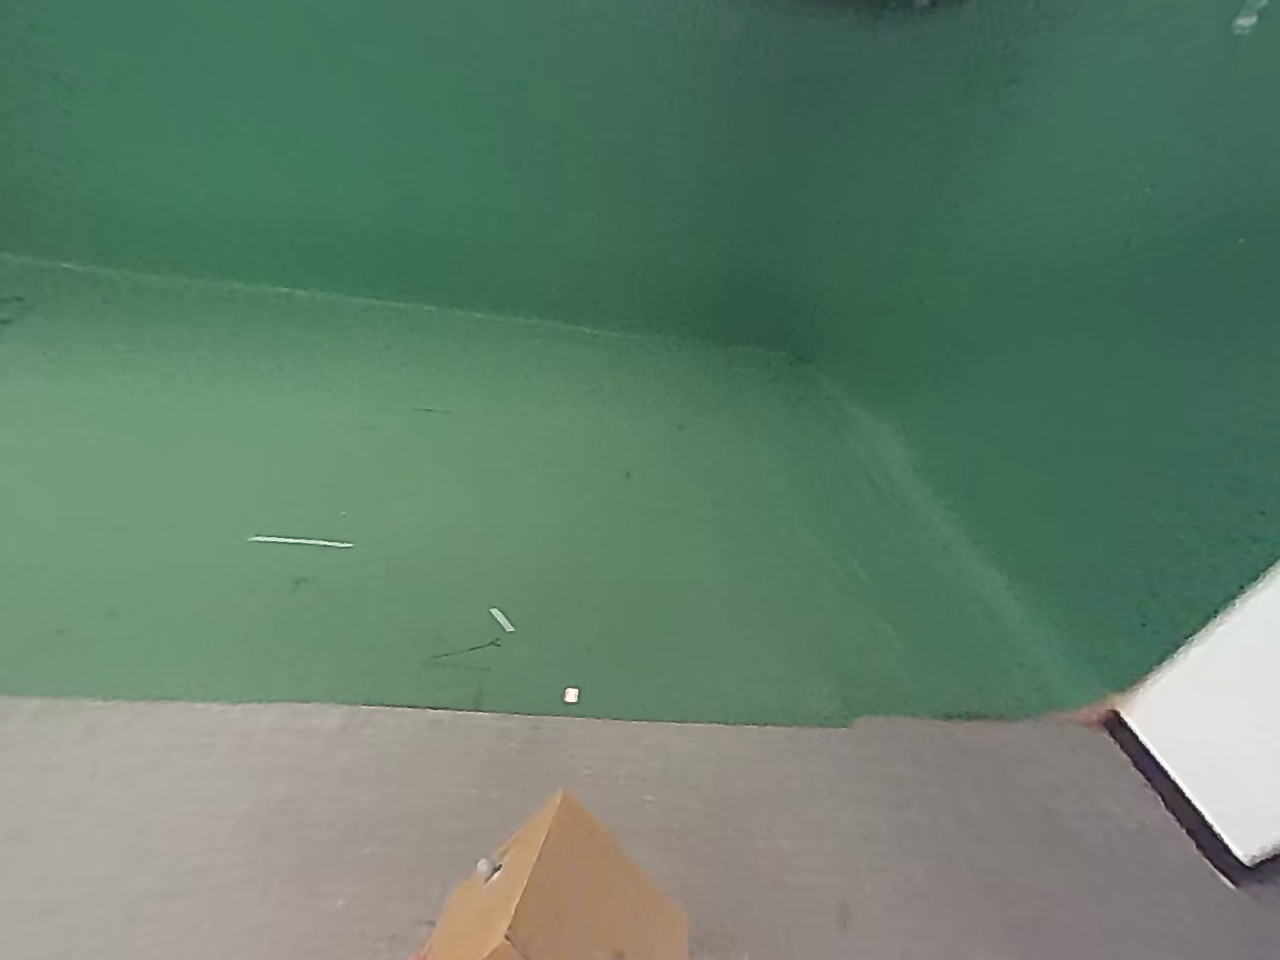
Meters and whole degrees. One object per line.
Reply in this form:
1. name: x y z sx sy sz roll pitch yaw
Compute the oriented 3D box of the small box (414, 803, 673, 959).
1. small box: -0.086 0.429 0.459 0.179 0.168 0.176 44 6 3
